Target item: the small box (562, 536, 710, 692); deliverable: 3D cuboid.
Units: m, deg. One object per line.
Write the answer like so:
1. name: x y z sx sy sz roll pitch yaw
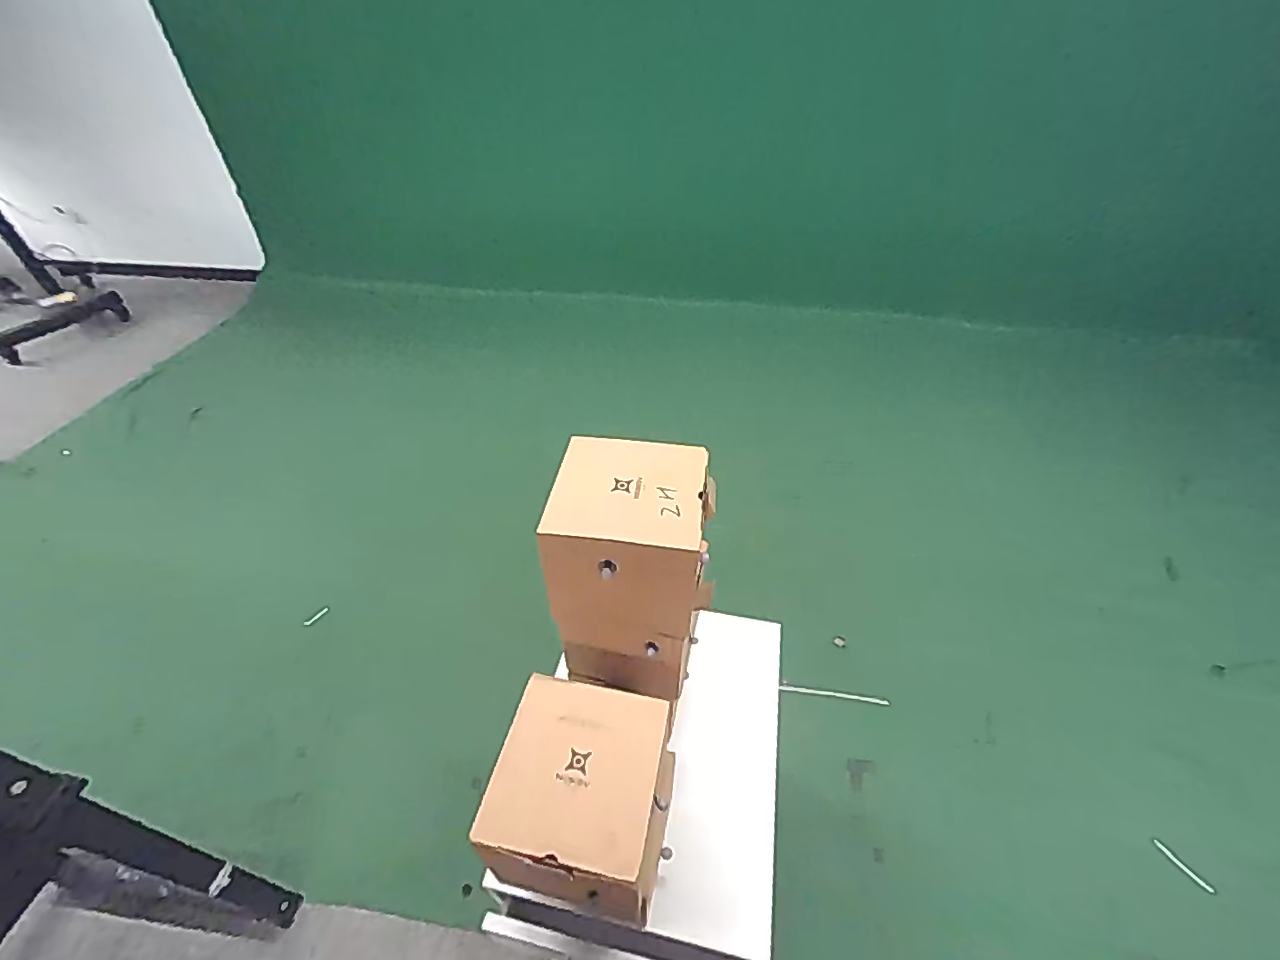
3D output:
1. small box: -0.006 0.179 0.780 0.179 0.176 0.168 11 44 11

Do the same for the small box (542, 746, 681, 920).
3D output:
1. small box: -0.051 0.453 0.722 0.179 0.176 0.168 10 43 11

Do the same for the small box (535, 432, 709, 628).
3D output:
1. small box: -0.013 0.062 0.663 0.179 0.176 0.168 6 44 6

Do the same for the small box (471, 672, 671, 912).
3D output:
1. small box: -0.061 0.346 0.600 0.168 0.176 0.179 8 43 8
